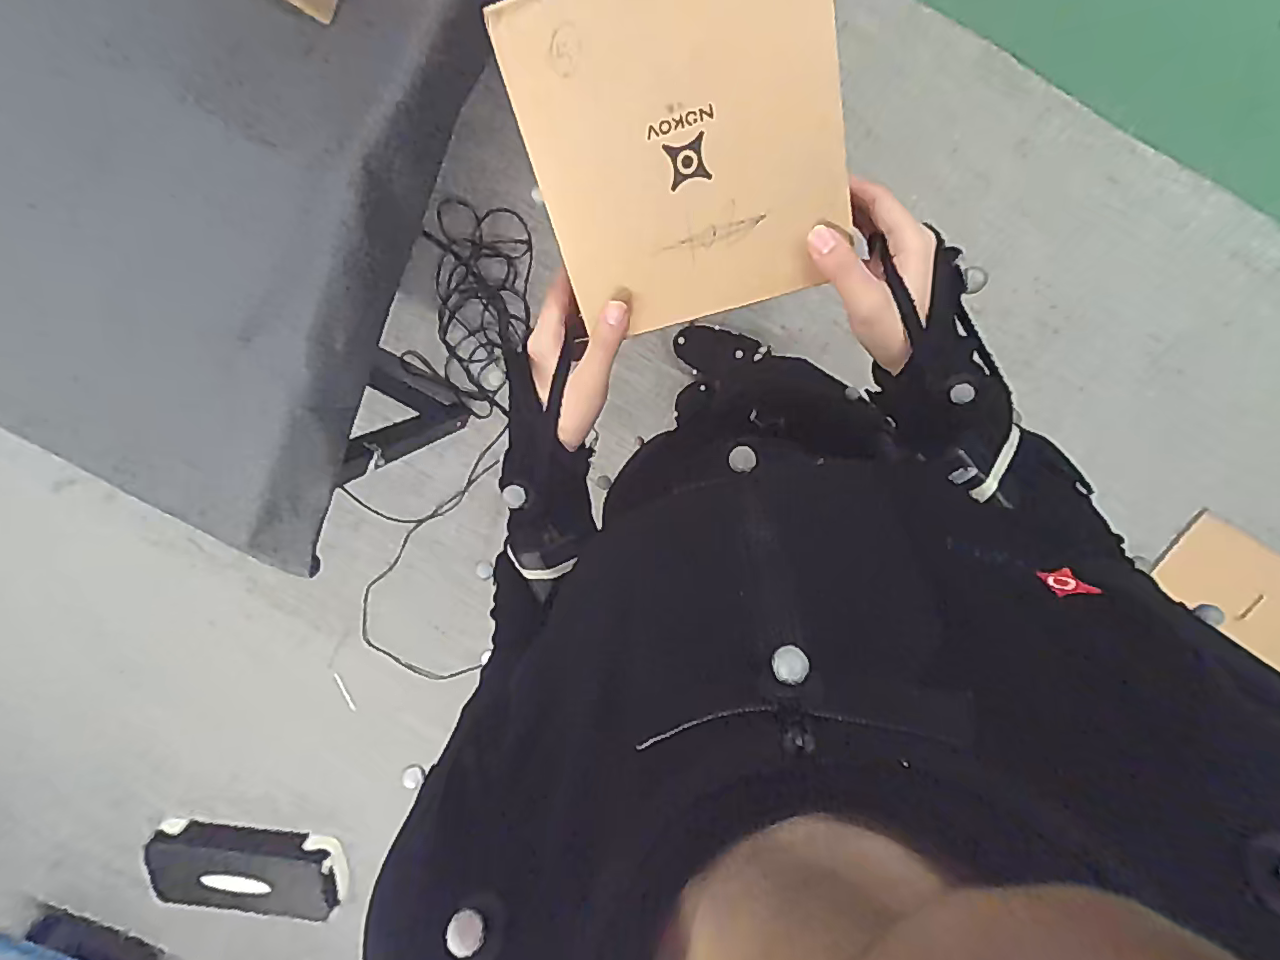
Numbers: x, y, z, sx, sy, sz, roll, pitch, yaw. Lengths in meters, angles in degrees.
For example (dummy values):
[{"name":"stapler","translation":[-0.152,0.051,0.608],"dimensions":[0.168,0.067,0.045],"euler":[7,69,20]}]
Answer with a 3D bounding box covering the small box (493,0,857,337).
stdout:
[{"name":"small box","translation":[0.030,-0.217,0.356],"dimensions":[0.168,0.176,0.179],"euler":[-12,119,11]}]
